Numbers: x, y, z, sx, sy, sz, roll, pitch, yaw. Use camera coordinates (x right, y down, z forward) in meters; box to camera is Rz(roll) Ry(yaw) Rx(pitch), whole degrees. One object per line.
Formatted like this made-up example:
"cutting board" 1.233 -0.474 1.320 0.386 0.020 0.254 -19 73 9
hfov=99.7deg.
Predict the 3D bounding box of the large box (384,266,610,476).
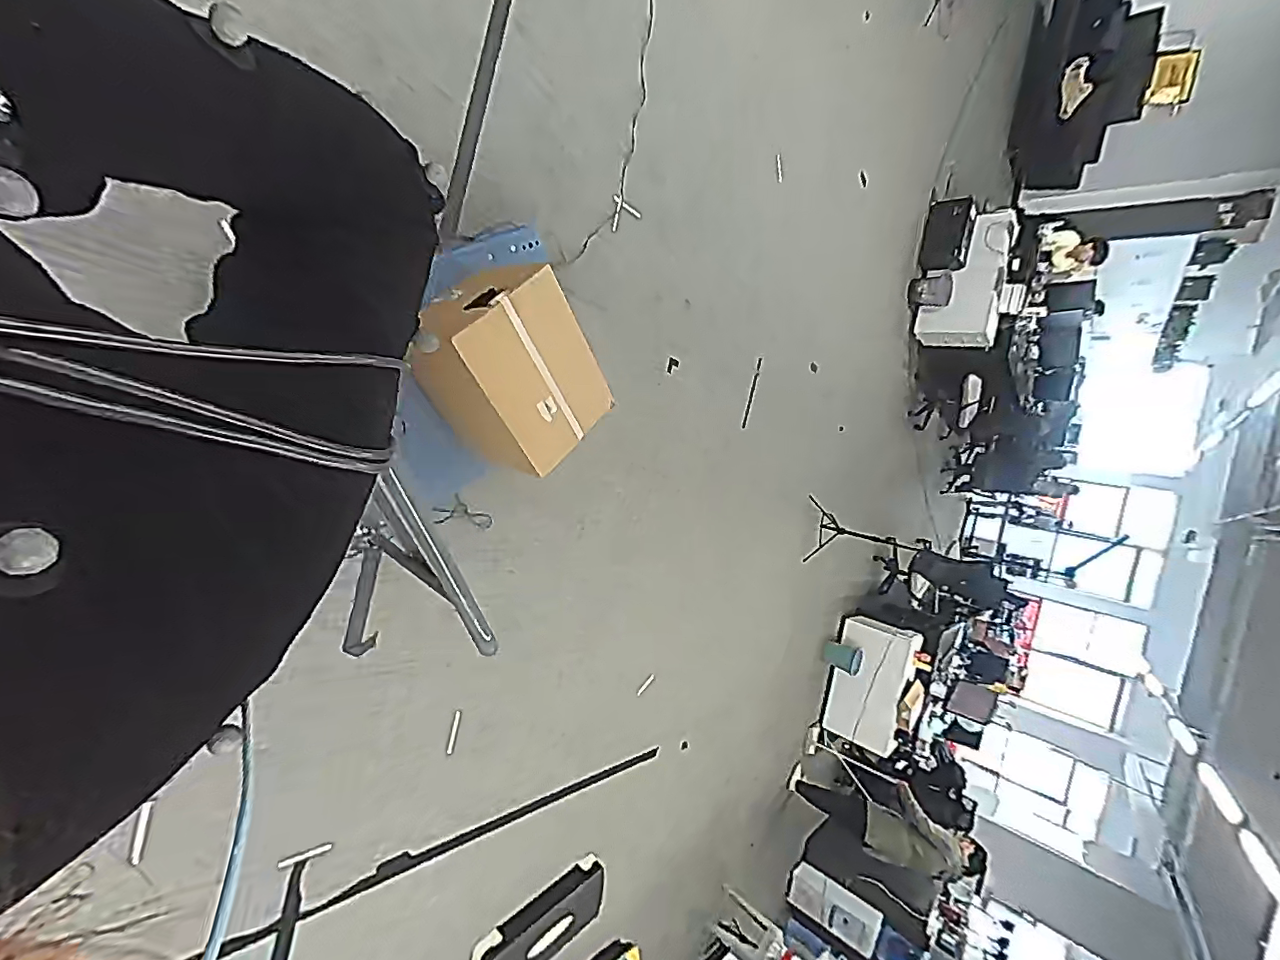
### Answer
"large box" -0.347 -0.276 1.372 0.320 0.320 0.408 -50 134 -27
